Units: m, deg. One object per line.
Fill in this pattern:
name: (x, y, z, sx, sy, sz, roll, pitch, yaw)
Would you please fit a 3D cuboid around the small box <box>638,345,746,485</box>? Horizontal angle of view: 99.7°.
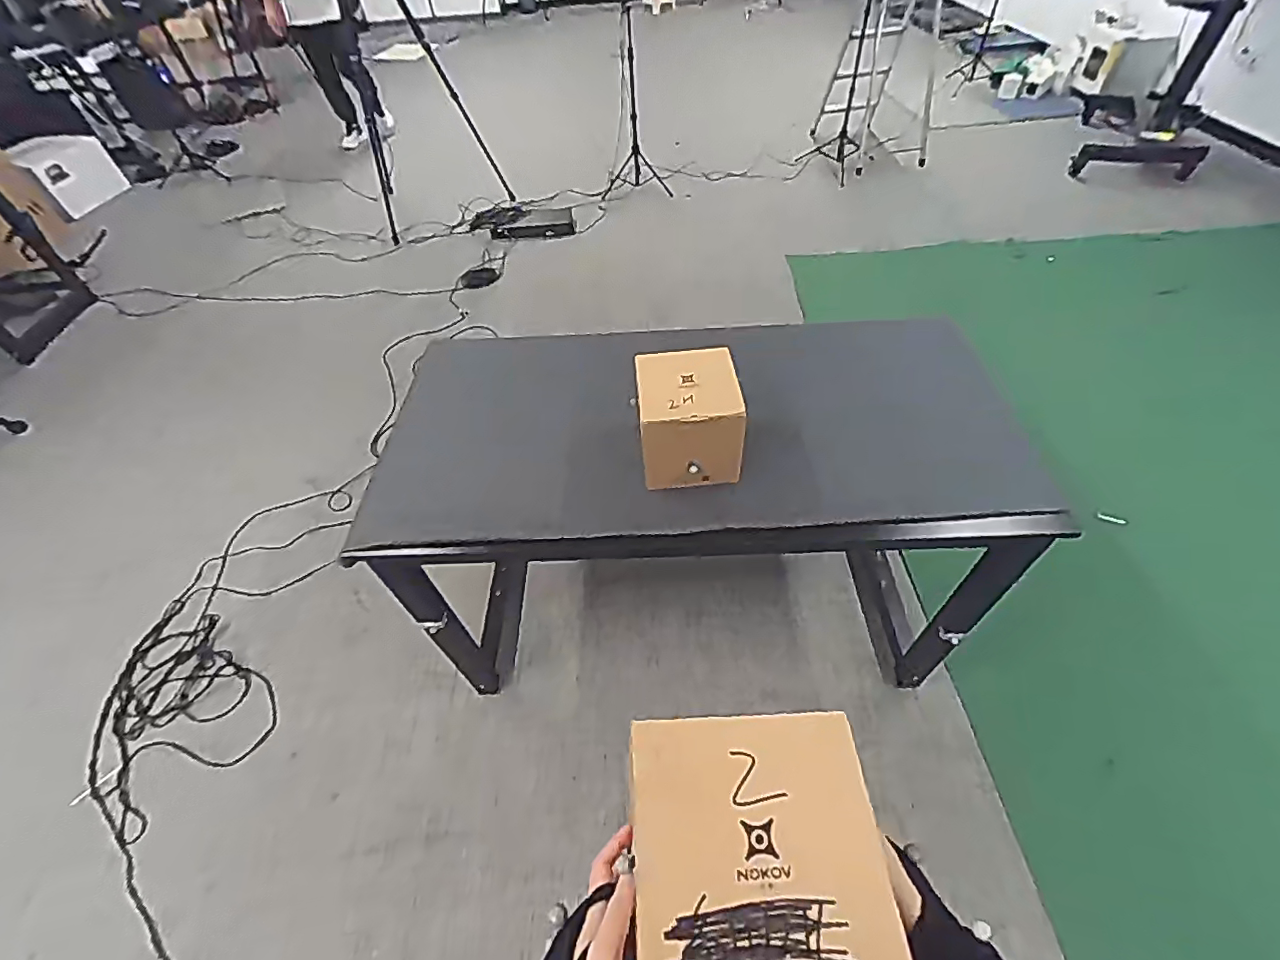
small box: (0.083, -0.114, 0.948, 0.168, 0.176, 0.179, -5, 49, 0)
